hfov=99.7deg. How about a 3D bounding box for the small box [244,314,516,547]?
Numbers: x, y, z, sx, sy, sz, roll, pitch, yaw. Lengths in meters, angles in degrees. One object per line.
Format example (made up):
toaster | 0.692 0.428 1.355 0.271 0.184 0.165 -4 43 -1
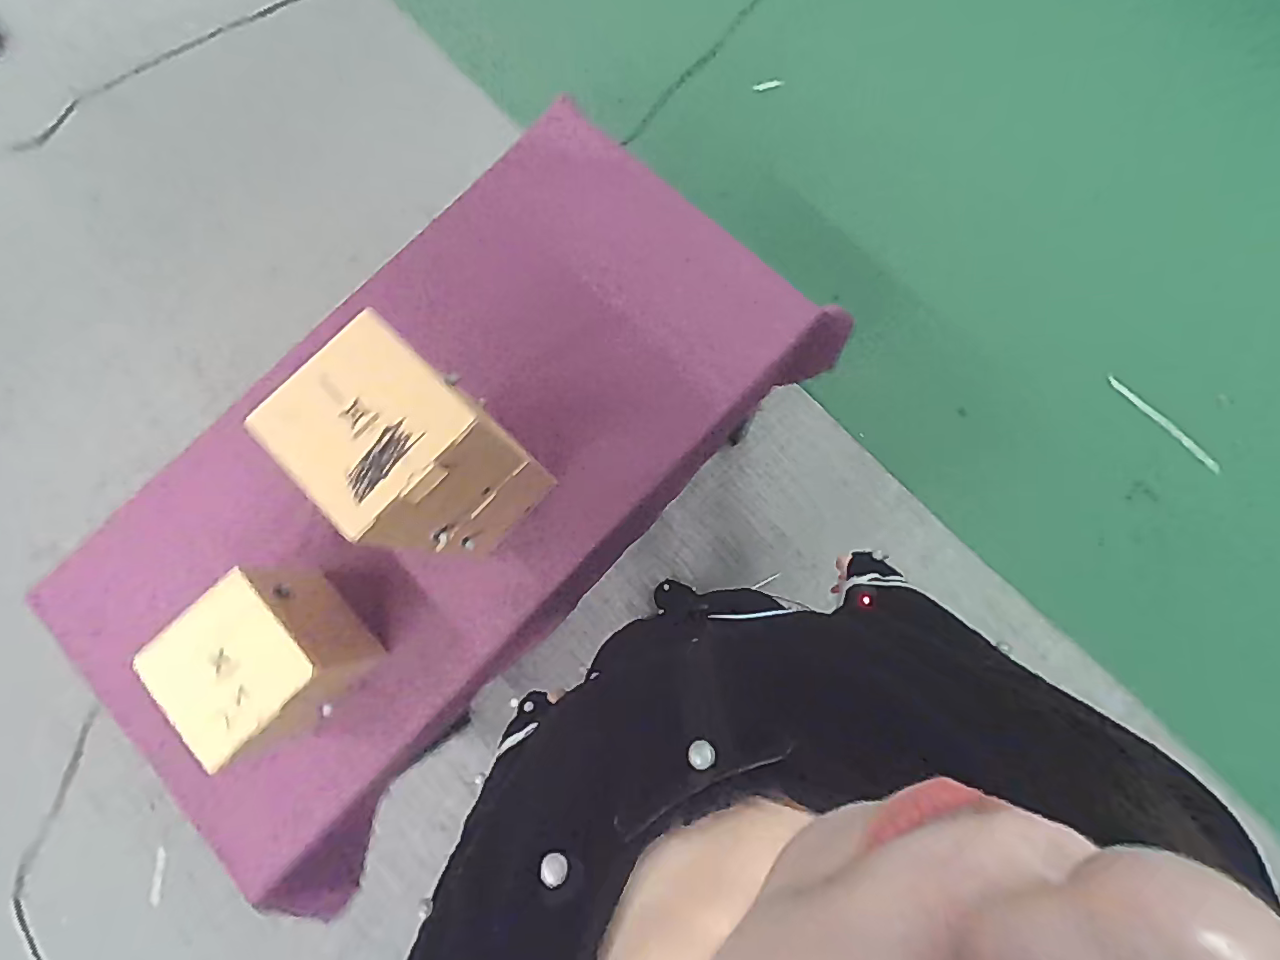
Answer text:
small box | -0.267 -0.040 0.600 0.179 0.176 0.168 42 84 12

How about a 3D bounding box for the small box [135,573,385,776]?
small box | -0.491 0.246 0.725 0.179 0.176 0.168 44 85 10
